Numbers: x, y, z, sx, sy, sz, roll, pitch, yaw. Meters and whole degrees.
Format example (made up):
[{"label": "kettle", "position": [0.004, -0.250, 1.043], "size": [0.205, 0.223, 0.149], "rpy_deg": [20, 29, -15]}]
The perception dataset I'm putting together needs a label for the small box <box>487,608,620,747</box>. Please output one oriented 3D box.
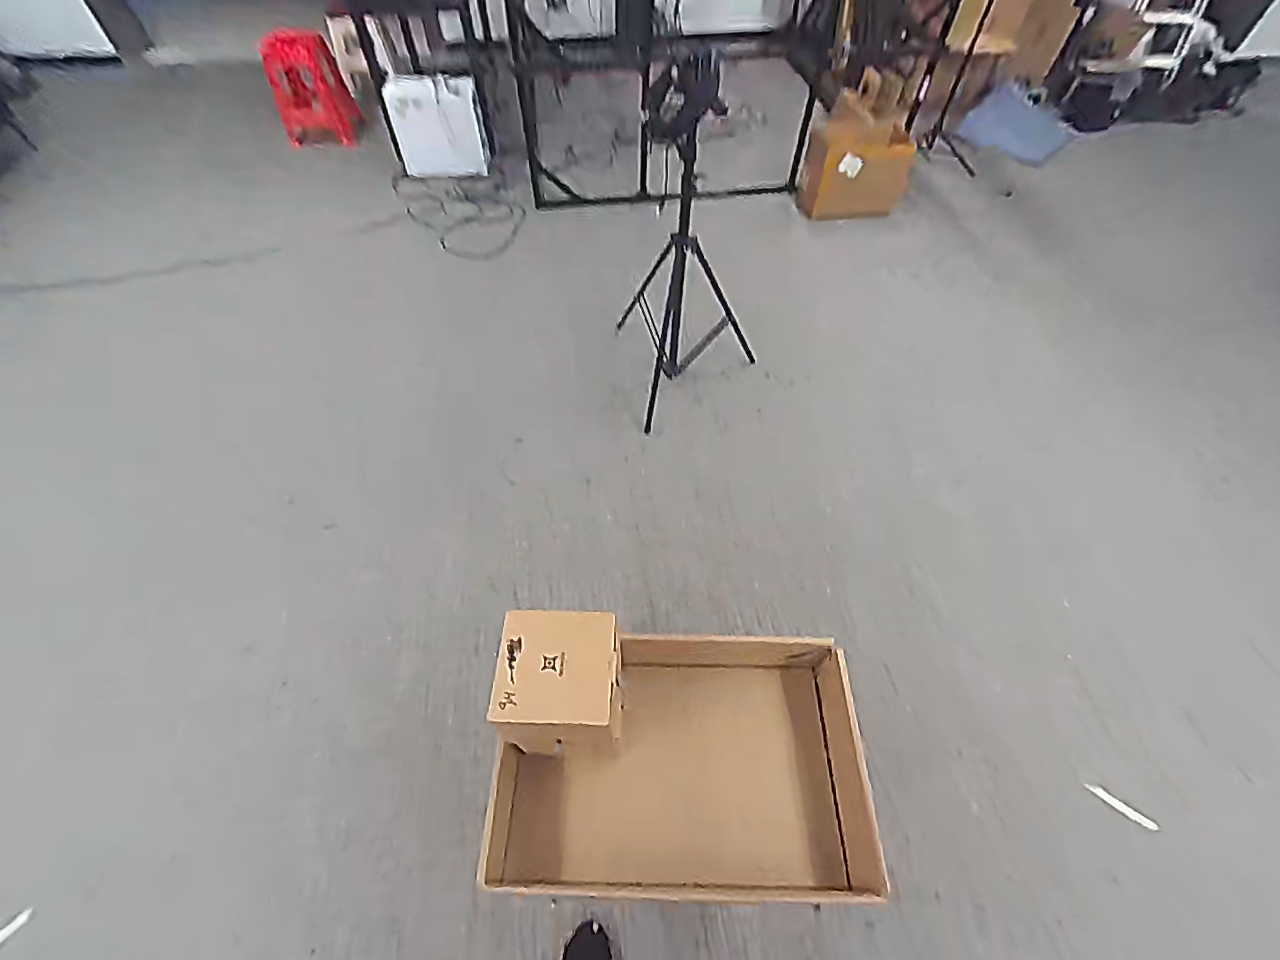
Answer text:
[{"label": "small box", "position": [-0.123, 0.316, 0.854], "size": [0.179, 0.176, 0.168], "rpy_deg": [2, 54, 1]}]
